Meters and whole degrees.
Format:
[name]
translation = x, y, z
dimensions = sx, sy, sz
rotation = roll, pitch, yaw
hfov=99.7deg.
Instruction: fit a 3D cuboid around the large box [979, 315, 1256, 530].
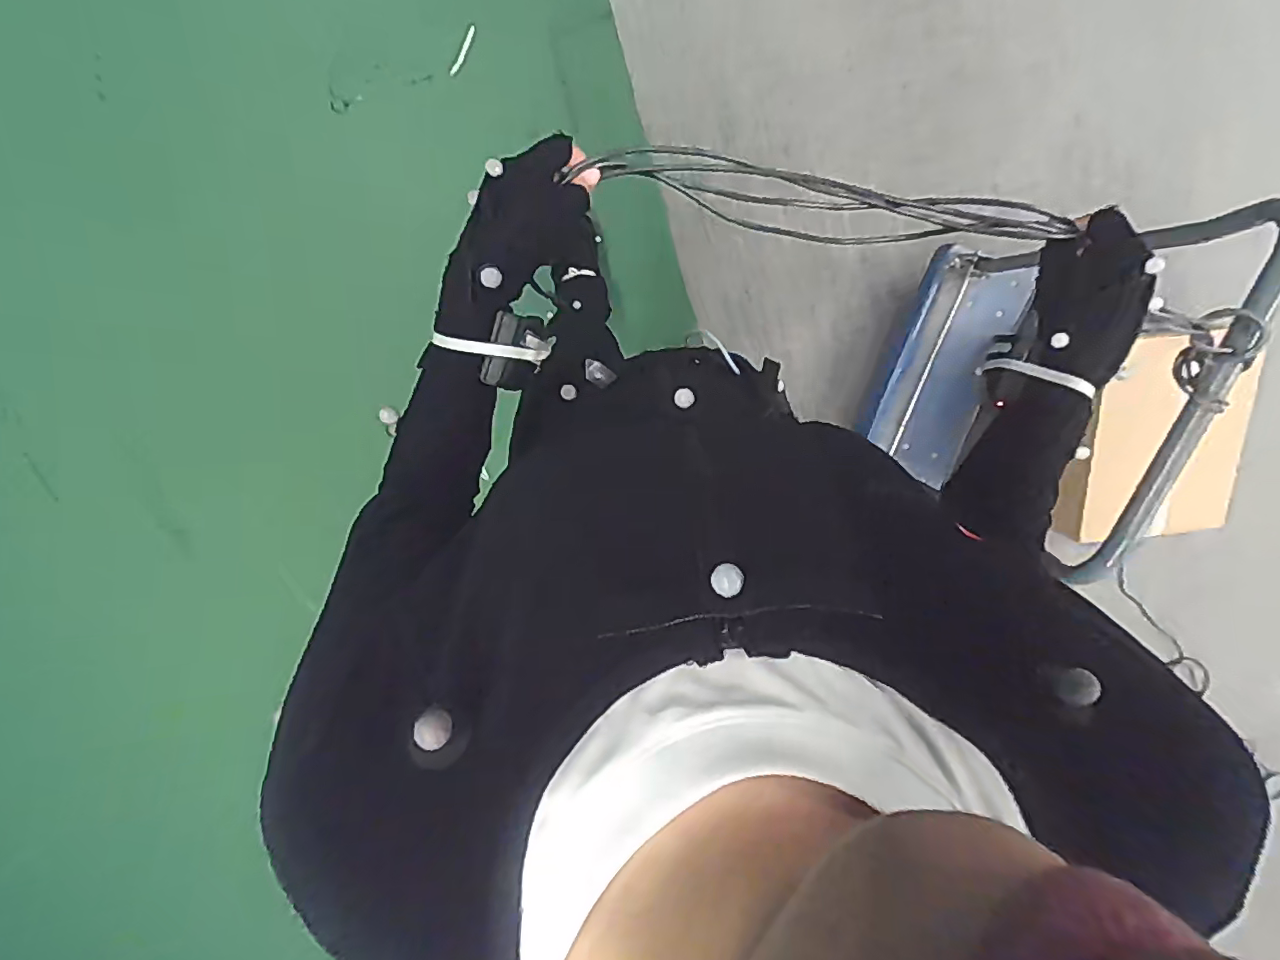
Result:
[large box]
translation = 1.007, -0.140, 1.198
dimensions = 0.320, 0.320, 0.408
rotation = -6, 106, -3
